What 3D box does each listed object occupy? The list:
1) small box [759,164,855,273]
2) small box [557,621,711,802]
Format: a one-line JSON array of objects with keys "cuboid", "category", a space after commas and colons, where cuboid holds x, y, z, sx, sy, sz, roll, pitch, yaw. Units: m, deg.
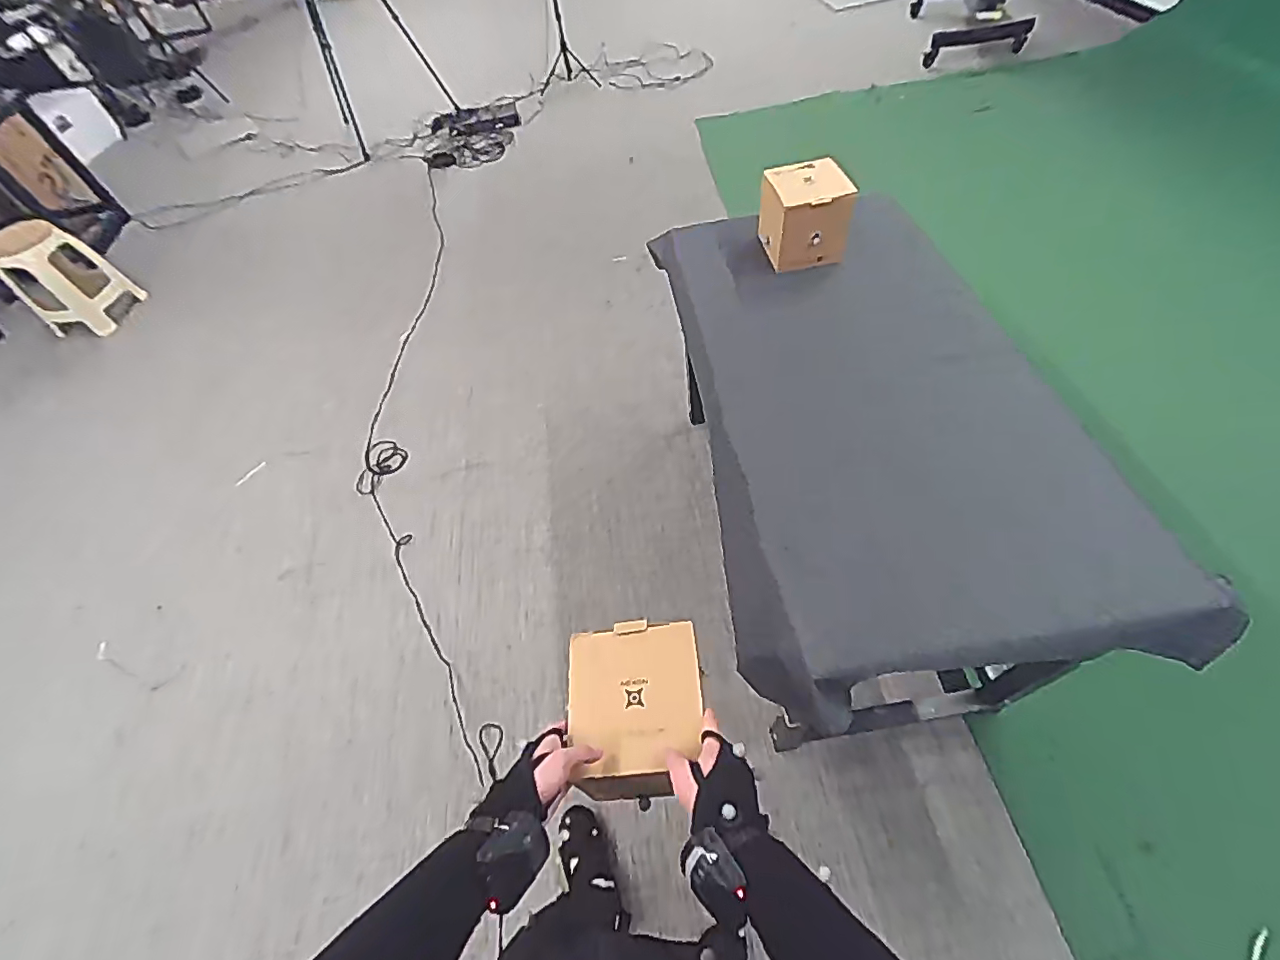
[{"cuboid": [0.391, -0.617, 1.297, 0.168, 0.176, 0.179, -11, 55, 0], "category": "small box"}, {"cuboid": [0.000, 0.304, 0.705, 0.168, 0.176, 0.179, -7, 51, 7], "category": "small box"}]
